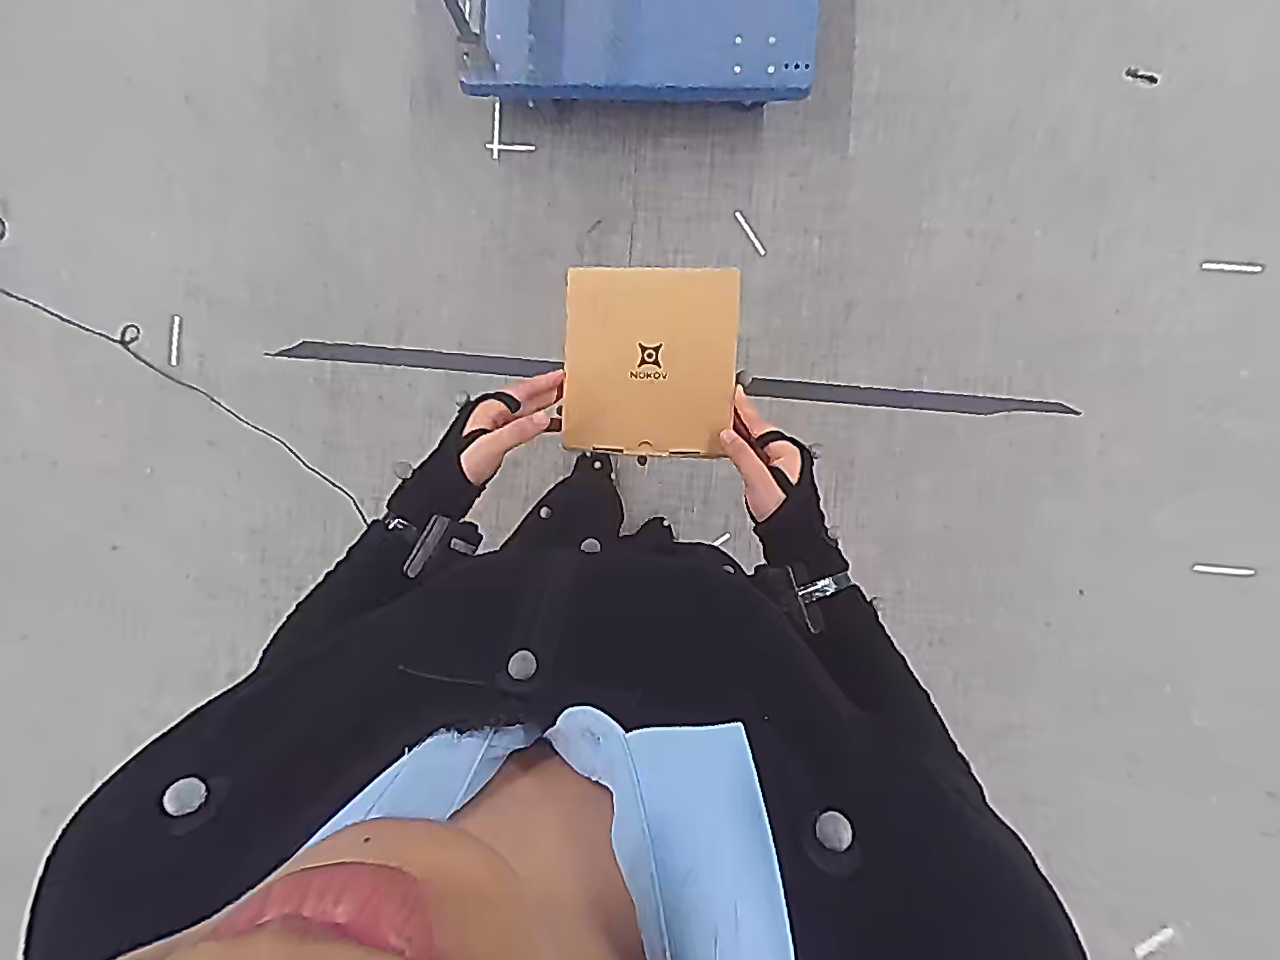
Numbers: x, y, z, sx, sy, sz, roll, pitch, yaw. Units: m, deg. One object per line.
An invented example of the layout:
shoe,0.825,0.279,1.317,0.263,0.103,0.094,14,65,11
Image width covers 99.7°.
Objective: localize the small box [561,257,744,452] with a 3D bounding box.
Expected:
small box,0.016,-0.122,0.584,0.168,0.176,0.179,3,94,5
